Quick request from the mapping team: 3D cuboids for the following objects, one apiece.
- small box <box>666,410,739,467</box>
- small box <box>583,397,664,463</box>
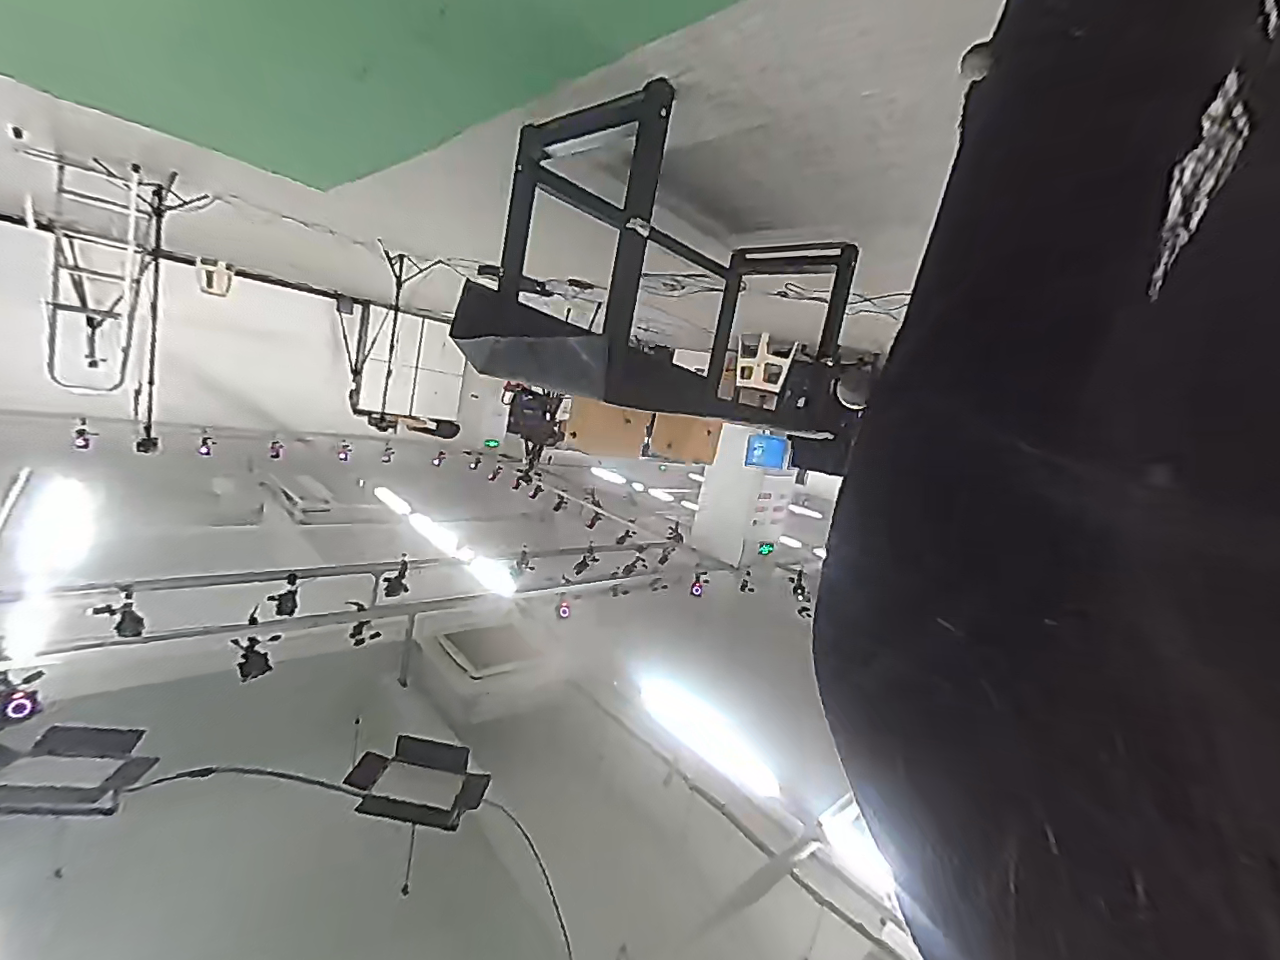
[{"bbox_3d":[0.223,-0.151,1.906,0.168,0.176,0.179,2,-168,-45],"label":"small box"},{"bbox_3d":[-0.048,-0.156,1.643,0.168,0.176,0.179,1,-166,-43],"label":"small box"}]
